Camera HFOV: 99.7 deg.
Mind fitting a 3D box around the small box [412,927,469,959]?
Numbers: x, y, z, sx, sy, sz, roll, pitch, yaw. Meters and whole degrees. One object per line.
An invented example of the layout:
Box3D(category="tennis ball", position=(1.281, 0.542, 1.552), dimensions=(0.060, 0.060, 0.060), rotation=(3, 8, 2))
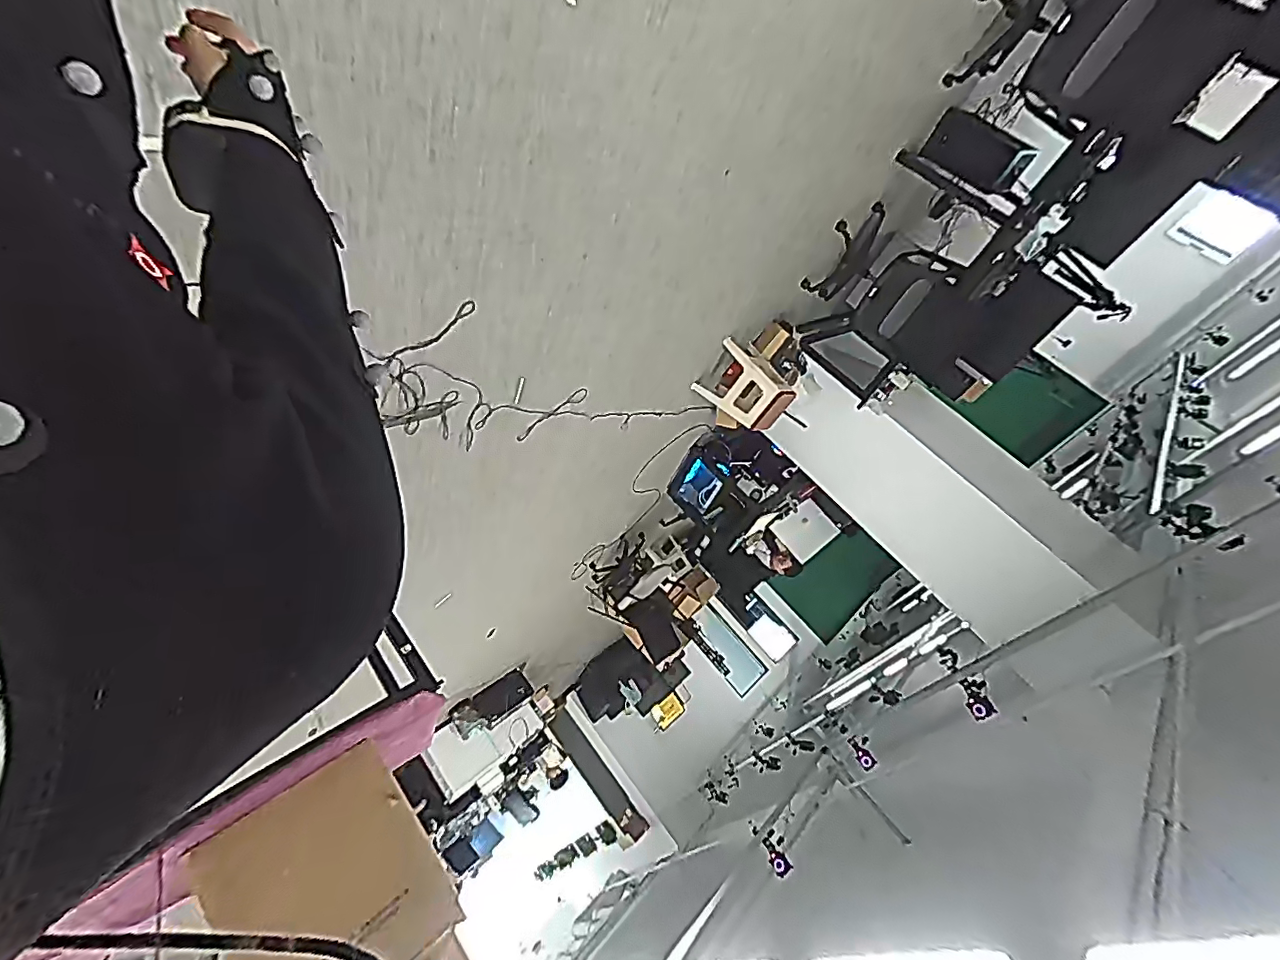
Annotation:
Box3D(category="small box", position=(-0.641, 1.566, 1.711), dimensions=(0.168, 0.176, 0.179), rotation=(-24, 153, -40))
